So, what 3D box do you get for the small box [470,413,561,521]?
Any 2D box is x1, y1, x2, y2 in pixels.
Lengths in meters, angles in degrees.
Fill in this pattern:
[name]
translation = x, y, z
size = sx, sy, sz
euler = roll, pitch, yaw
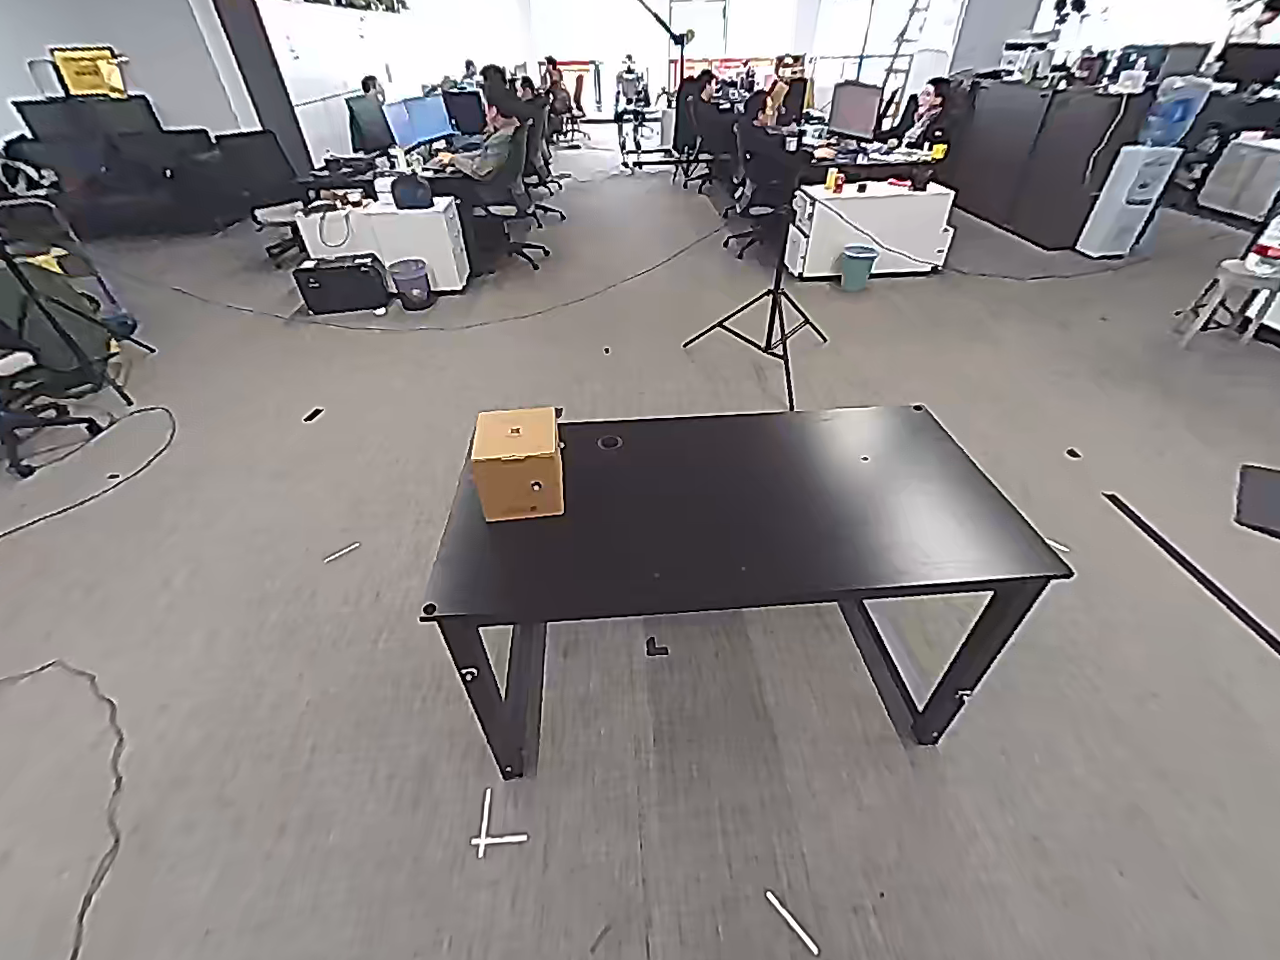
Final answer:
[small box]
translation = -0.261, -0.025, 1.172
size = 0.168, 0.176, 0.179
euler = -5, 39, -7
